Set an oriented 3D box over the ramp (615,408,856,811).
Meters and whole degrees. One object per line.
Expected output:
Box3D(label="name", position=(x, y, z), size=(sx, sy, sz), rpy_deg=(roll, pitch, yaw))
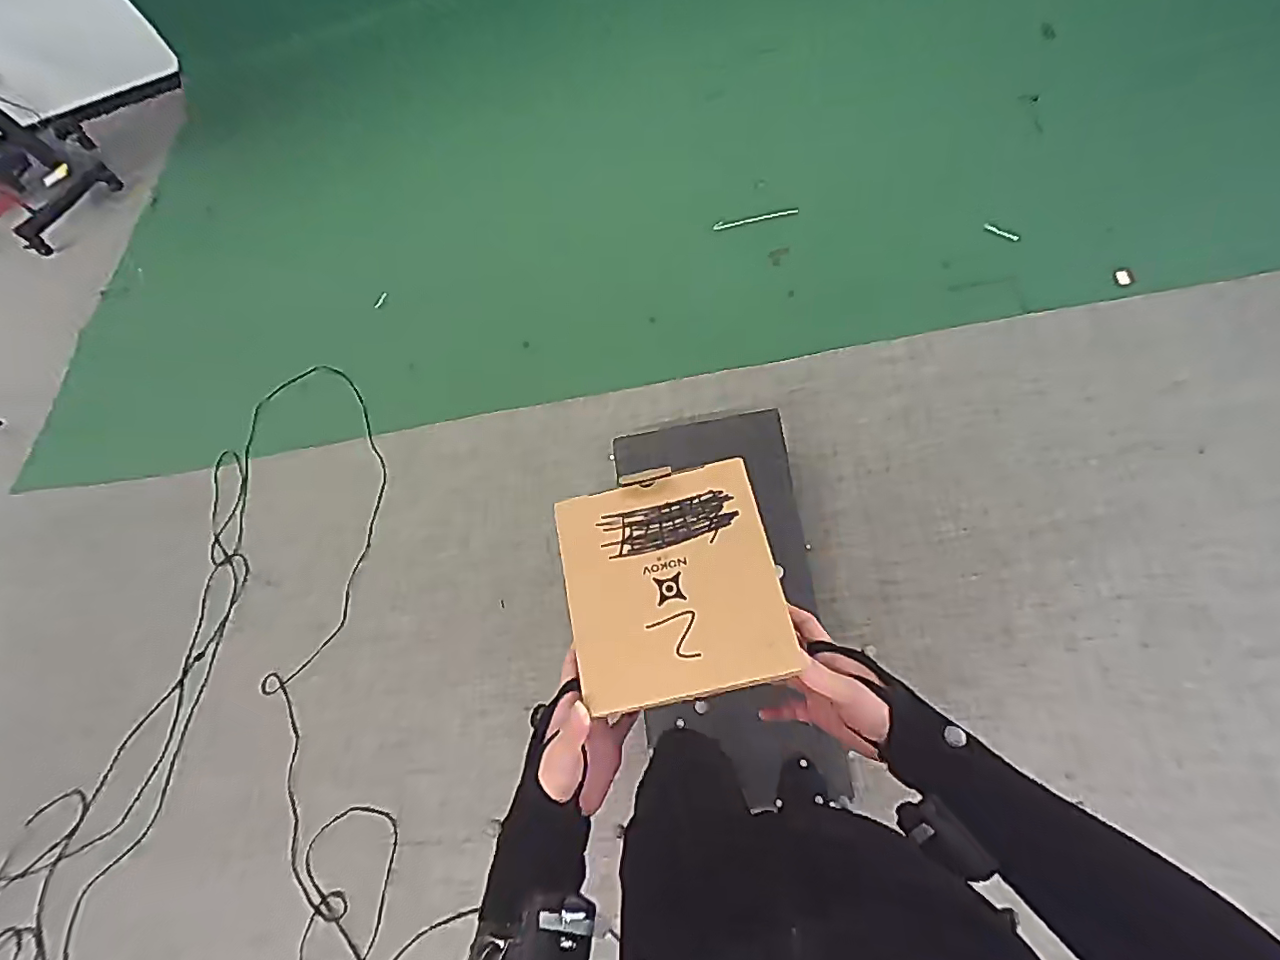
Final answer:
Box3D(label="ramp", position=(0.222, 0.314, 1.442), size=(0.509, 0.206, 0.991), rpy_deg=(-11, 65, 8))
